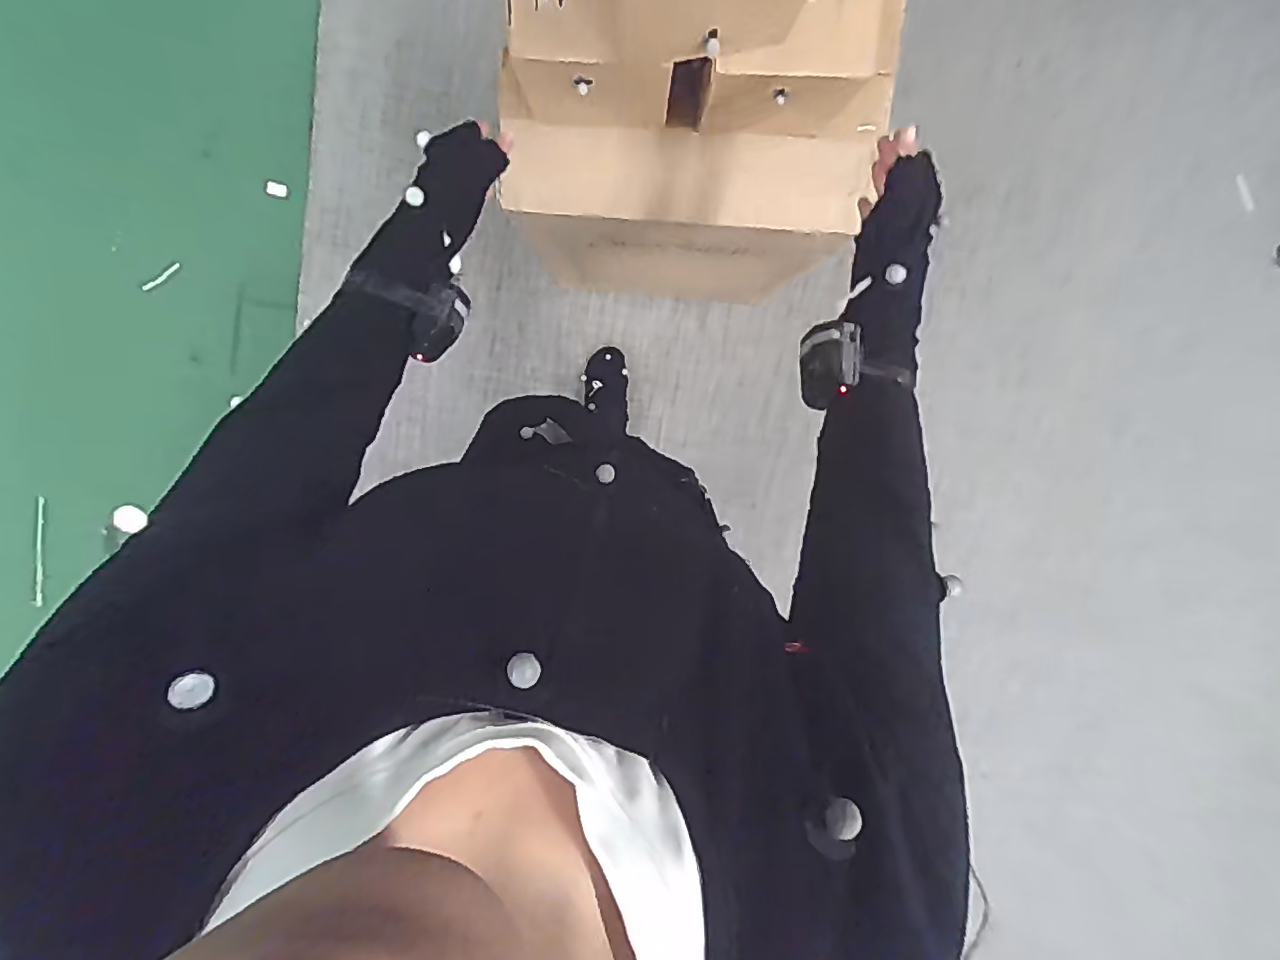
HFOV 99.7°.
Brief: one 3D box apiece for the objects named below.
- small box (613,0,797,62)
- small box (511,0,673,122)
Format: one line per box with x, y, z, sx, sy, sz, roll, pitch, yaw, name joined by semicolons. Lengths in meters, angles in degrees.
0.058;-0.511;0.476;0.179;0.176;0.168;-10;104;1;small box
-0.047;-0.546;0.635;0.179;0.176;0.168;2;104;-2;small box
